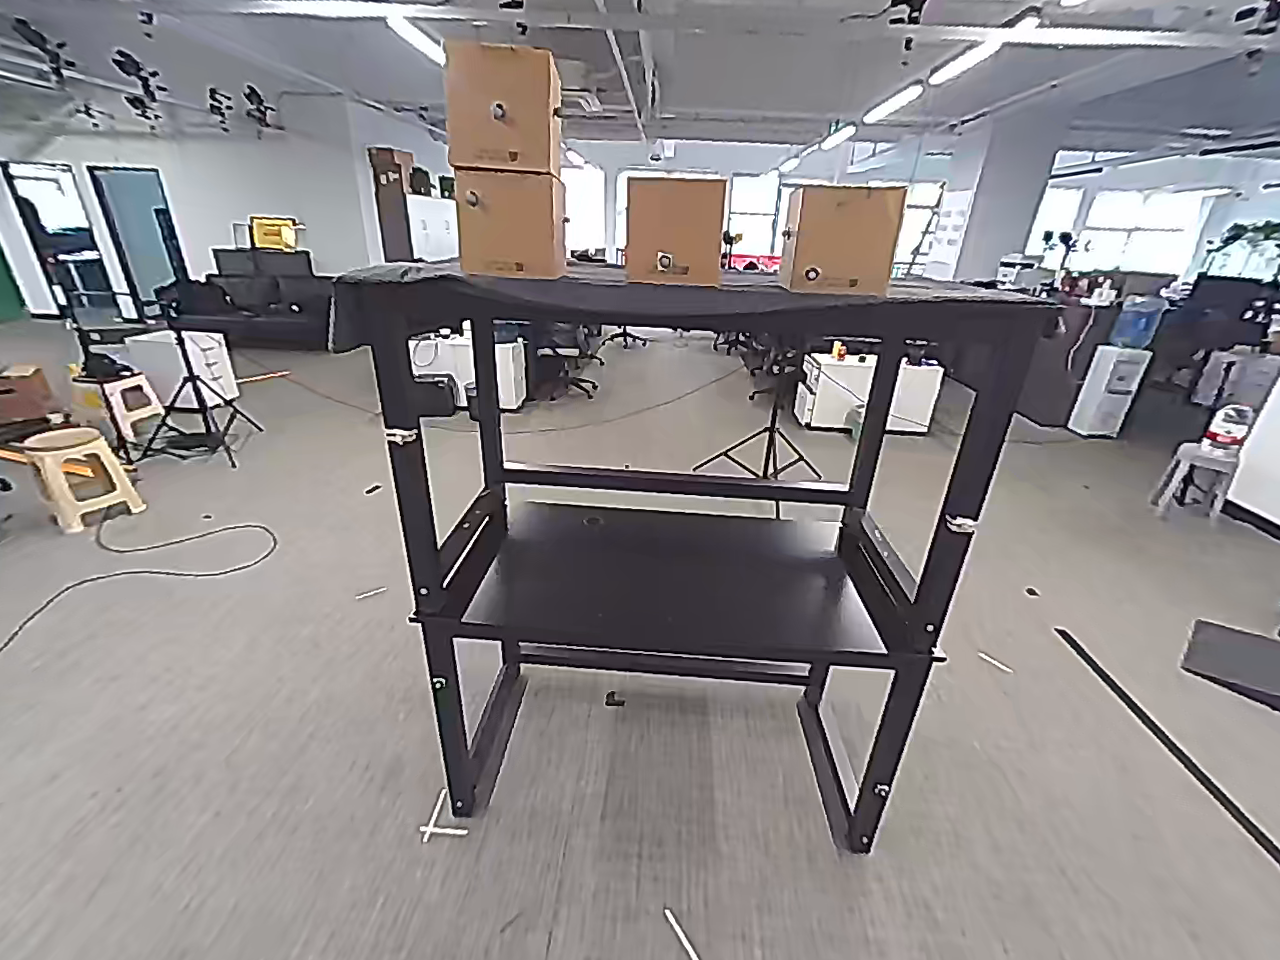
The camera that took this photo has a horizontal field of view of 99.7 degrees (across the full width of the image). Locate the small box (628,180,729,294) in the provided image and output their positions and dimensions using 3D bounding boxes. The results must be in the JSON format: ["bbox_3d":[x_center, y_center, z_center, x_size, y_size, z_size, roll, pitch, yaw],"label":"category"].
[{"bbox_3d":[0.069,-0.435,0.980,0.168,0.176,0.179,4,23,5],"label":"small box"}]

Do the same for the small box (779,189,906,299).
[{"bbox_3d":[0.353,-0.422,0.974,0.168,0.176,0.179,4,23,4],"label":"small box"}]

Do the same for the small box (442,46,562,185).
[{"bbox_3d":[-0.222,-0.603,0.917,0.168,0.176,0.179,3,24,-4],"label":"small box"}]
